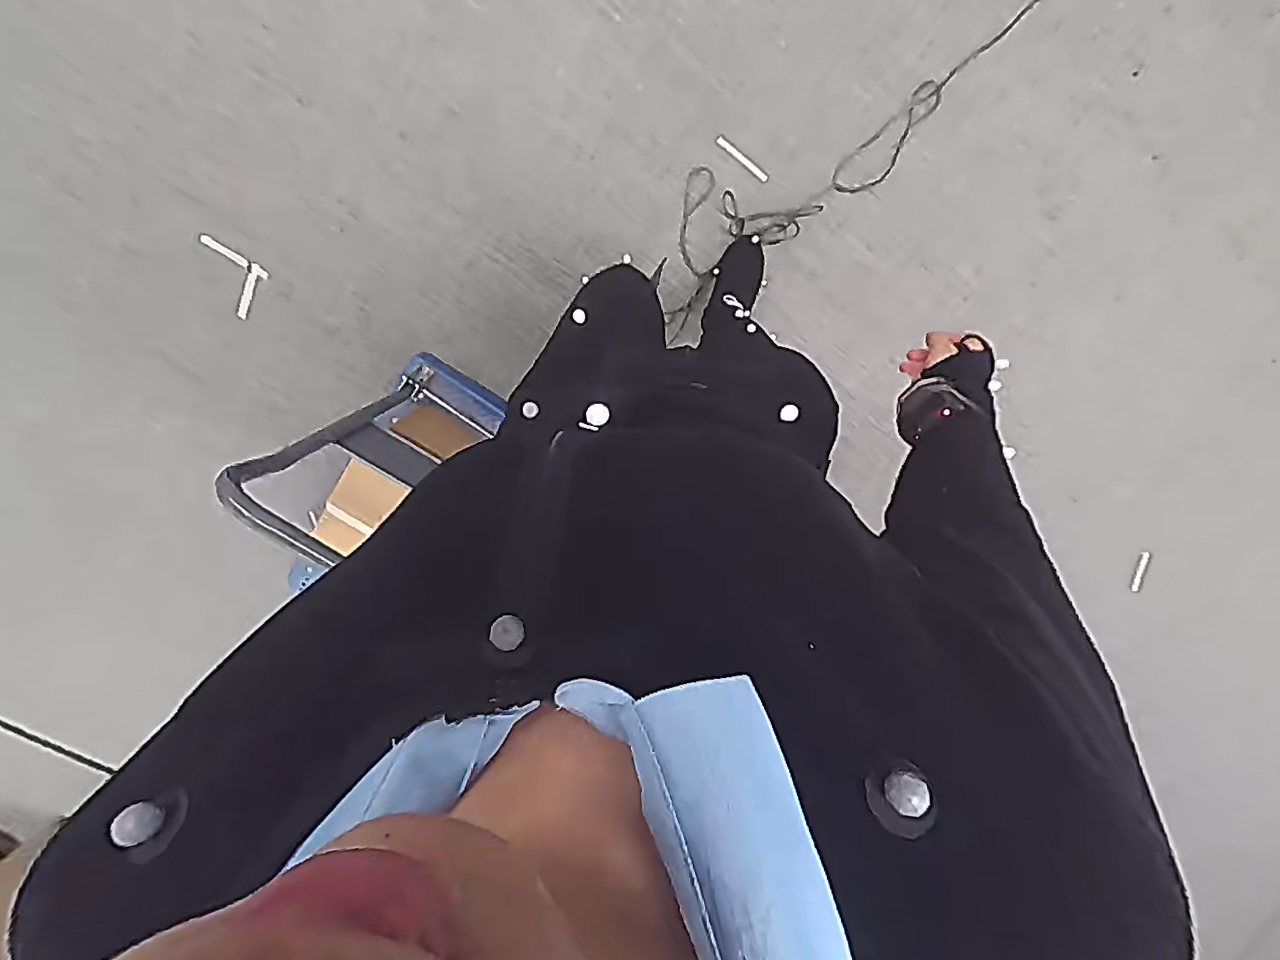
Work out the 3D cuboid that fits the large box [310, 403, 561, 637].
[{"bbox_3d":[-0.458,0.085,1.285,0.408,0.320,0.320,36,112,-11],"label":"large box"}]
